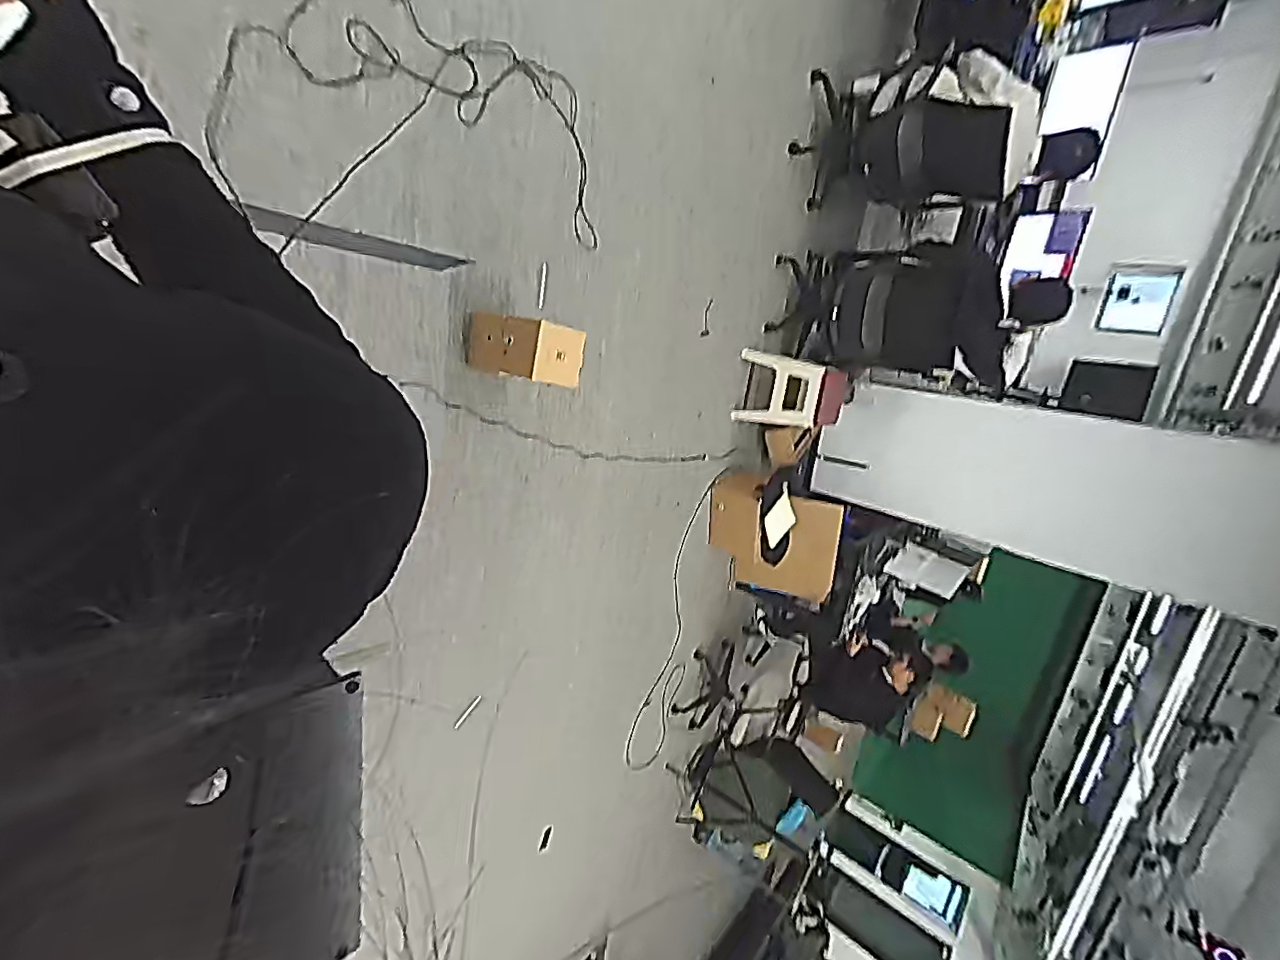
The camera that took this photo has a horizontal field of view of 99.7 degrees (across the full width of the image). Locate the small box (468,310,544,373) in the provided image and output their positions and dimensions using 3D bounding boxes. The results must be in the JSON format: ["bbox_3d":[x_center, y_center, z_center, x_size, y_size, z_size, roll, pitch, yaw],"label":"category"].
[{"bbox_3d":[-0.416,-0.428,1.677,0.168,0.176,0.179,-9,111,-49],"label":"small box"}]

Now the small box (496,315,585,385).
[{"bbox_3d":[-0.292,-0.381,1.581,0.179,0.176,0.168,-2,106,-50],"label":"small box"}]
